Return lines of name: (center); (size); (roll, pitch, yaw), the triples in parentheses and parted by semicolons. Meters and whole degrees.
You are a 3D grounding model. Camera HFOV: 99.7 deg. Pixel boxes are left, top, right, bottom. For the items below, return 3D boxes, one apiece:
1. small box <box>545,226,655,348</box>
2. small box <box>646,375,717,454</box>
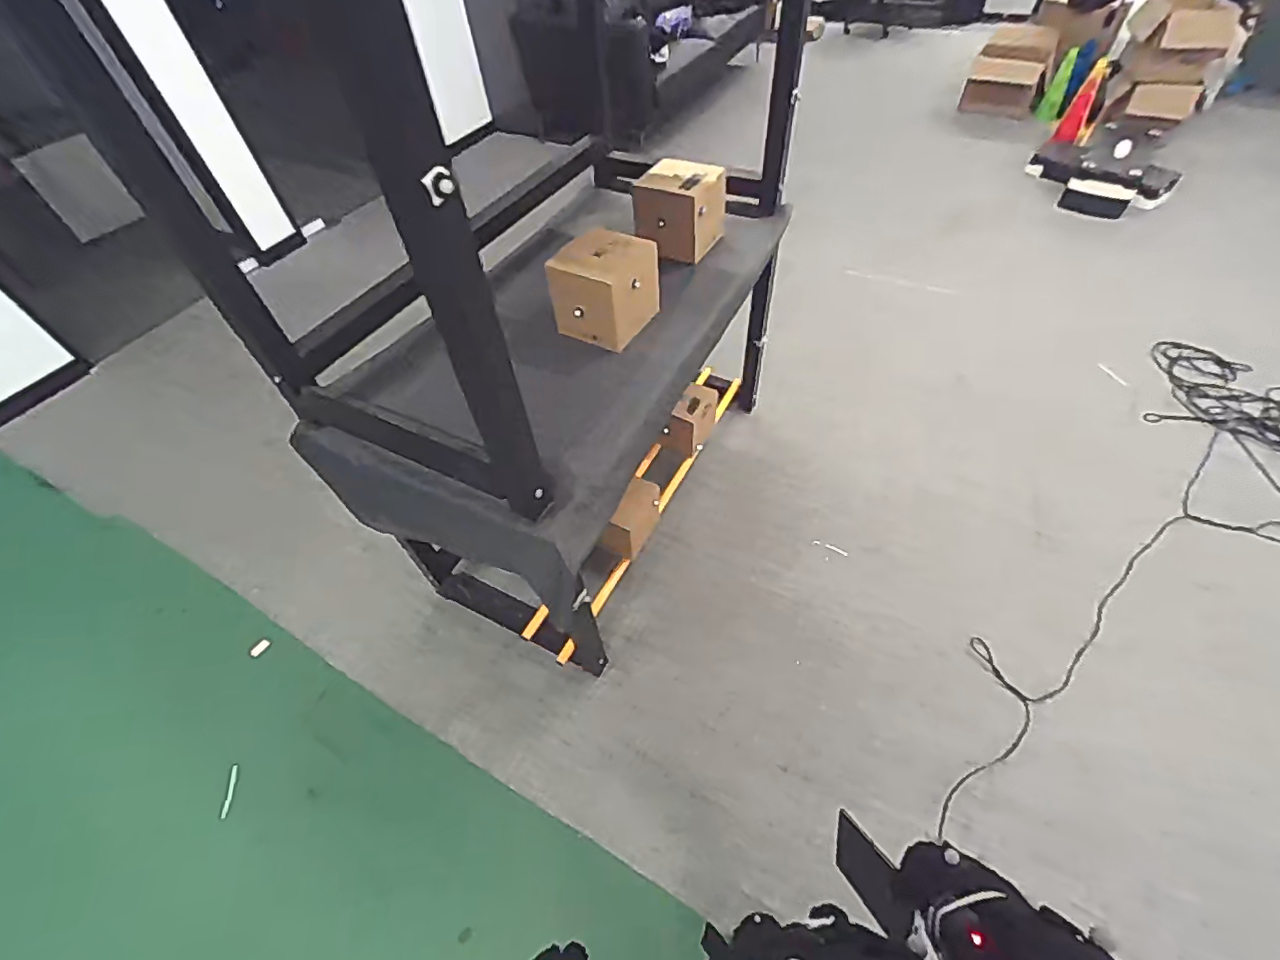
small box: (-0.074, -0.412, 1.164); (0.168, 0.176, 0.179); (24, 57, 21)
small box: (0.136, -0.210, 1.787); (0.179, 0.176, 0.168); (25, 57, 21)
